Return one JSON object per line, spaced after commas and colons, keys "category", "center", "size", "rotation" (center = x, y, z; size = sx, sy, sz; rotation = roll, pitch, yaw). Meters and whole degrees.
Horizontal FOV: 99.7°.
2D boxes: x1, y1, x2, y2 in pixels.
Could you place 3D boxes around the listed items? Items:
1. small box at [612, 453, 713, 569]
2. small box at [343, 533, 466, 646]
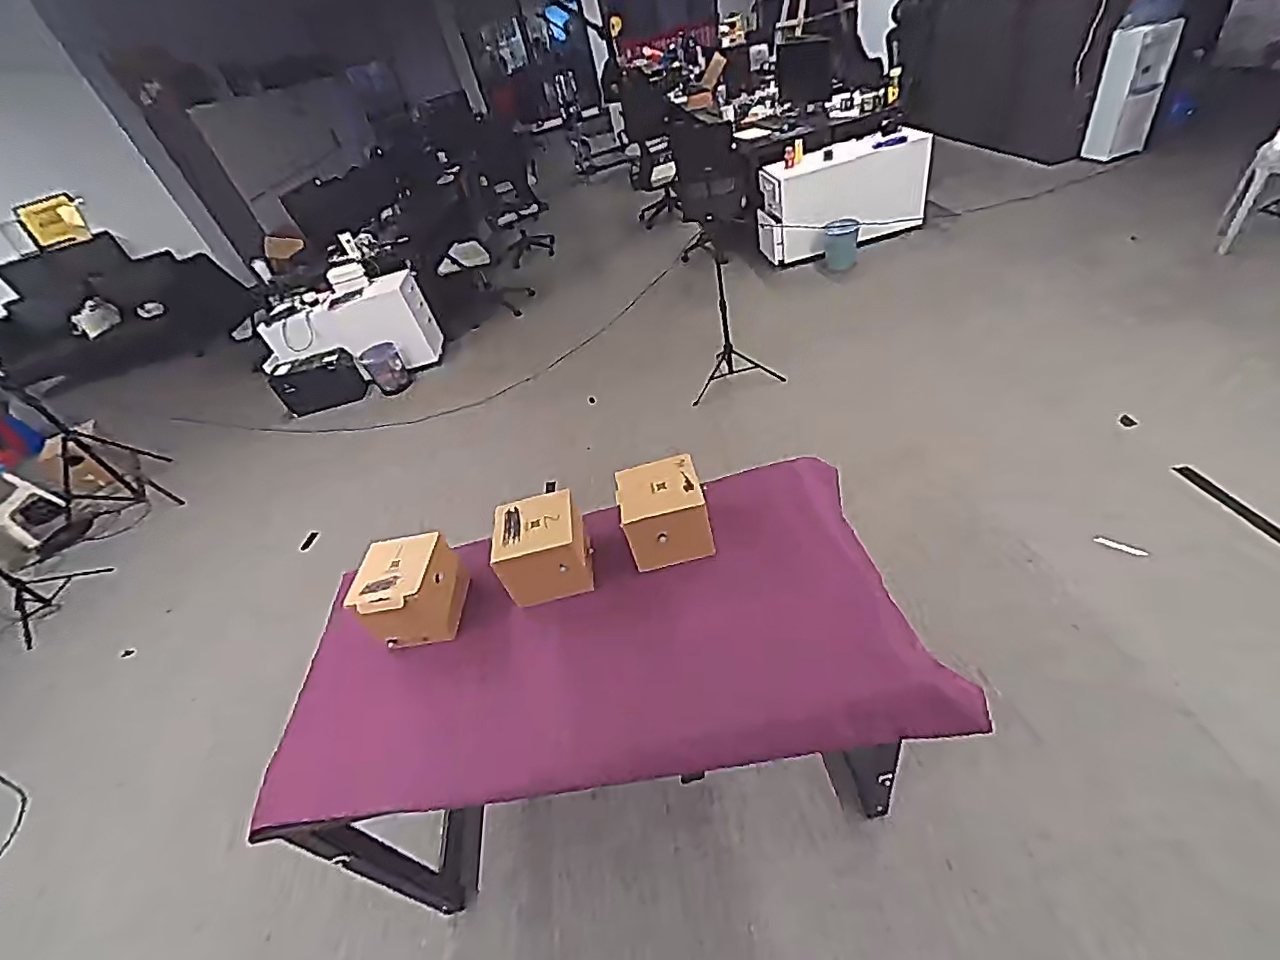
{"category": "small box", "center": [0.050, 0.073, 1.189], "size": [0.179, 0.176, 0.168], "rotation": [-15, 43, 4]}
{"category": "small box", "center": [-0.503, 0.246, 1.185], "size": [0.168, 0.176, 0.179], "rotation": [-11, 41, 7]}
